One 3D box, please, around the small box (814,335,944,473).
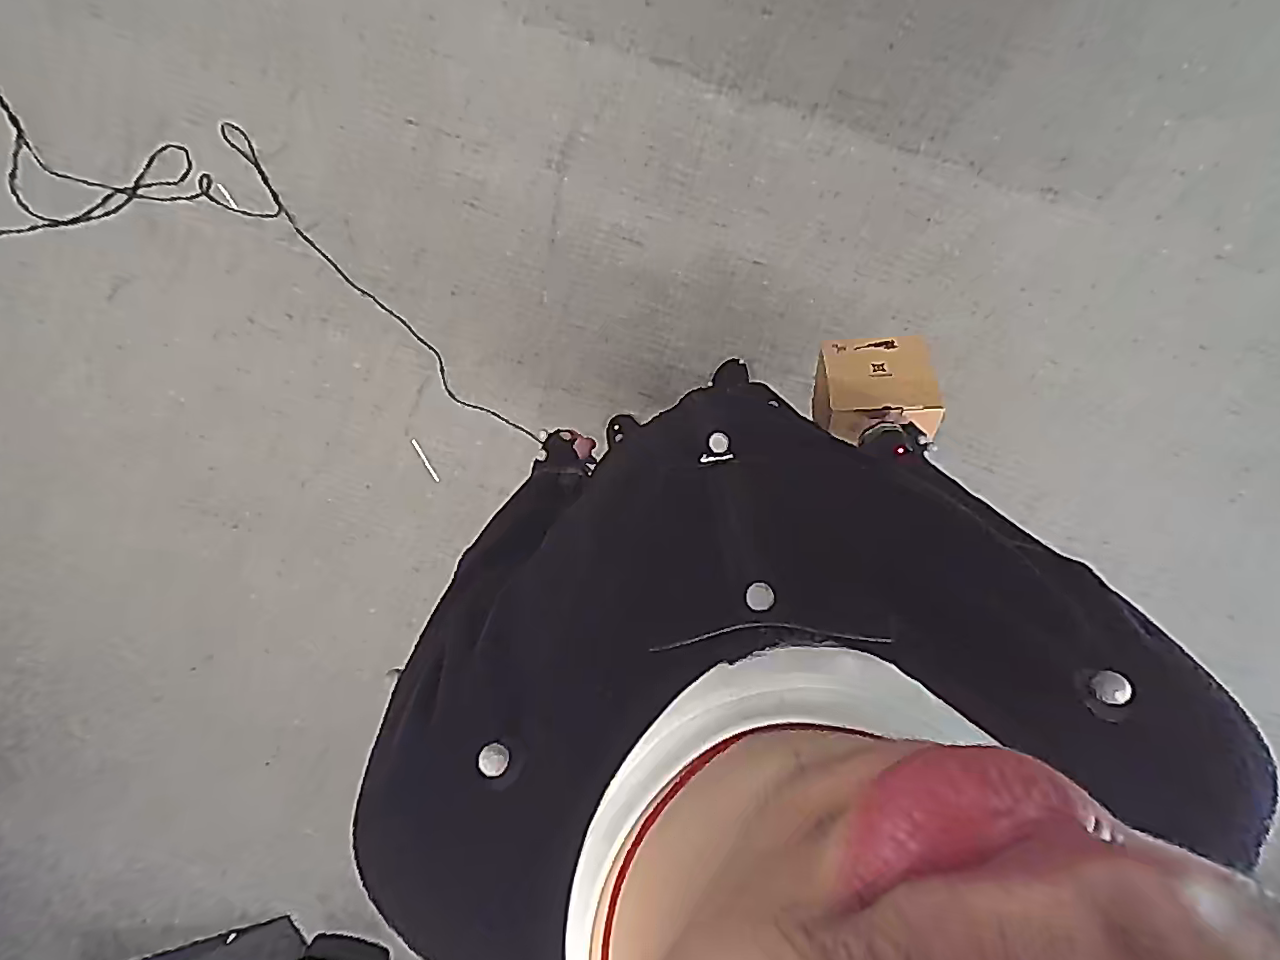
[{"bbox_3d":[0.400,-0.123,0.937,0.168,0.179,0.176,-3,142,10],"label":"small box"}]
